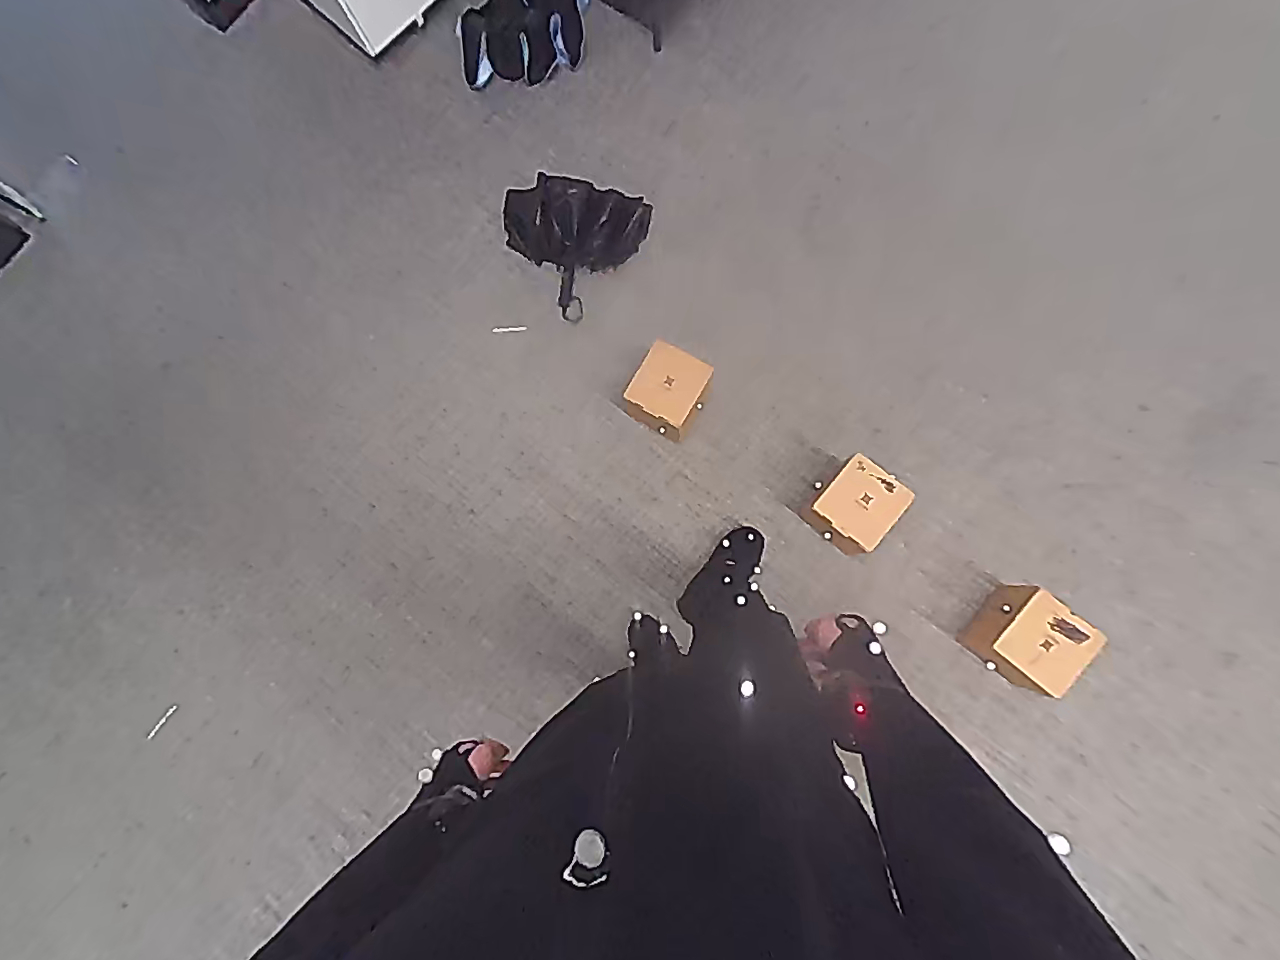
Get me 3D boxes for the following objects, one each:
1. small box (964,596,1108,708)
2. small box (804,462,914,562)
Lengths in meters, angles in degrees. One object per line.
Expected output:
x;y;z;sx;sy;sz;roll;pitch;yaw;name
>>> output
0.889;0.380;1.236;0.168;0.176;0.179;40;86;12;small box
0.524;0.088;1.328;0.168;0.176;0.179;40;85;11;small box
